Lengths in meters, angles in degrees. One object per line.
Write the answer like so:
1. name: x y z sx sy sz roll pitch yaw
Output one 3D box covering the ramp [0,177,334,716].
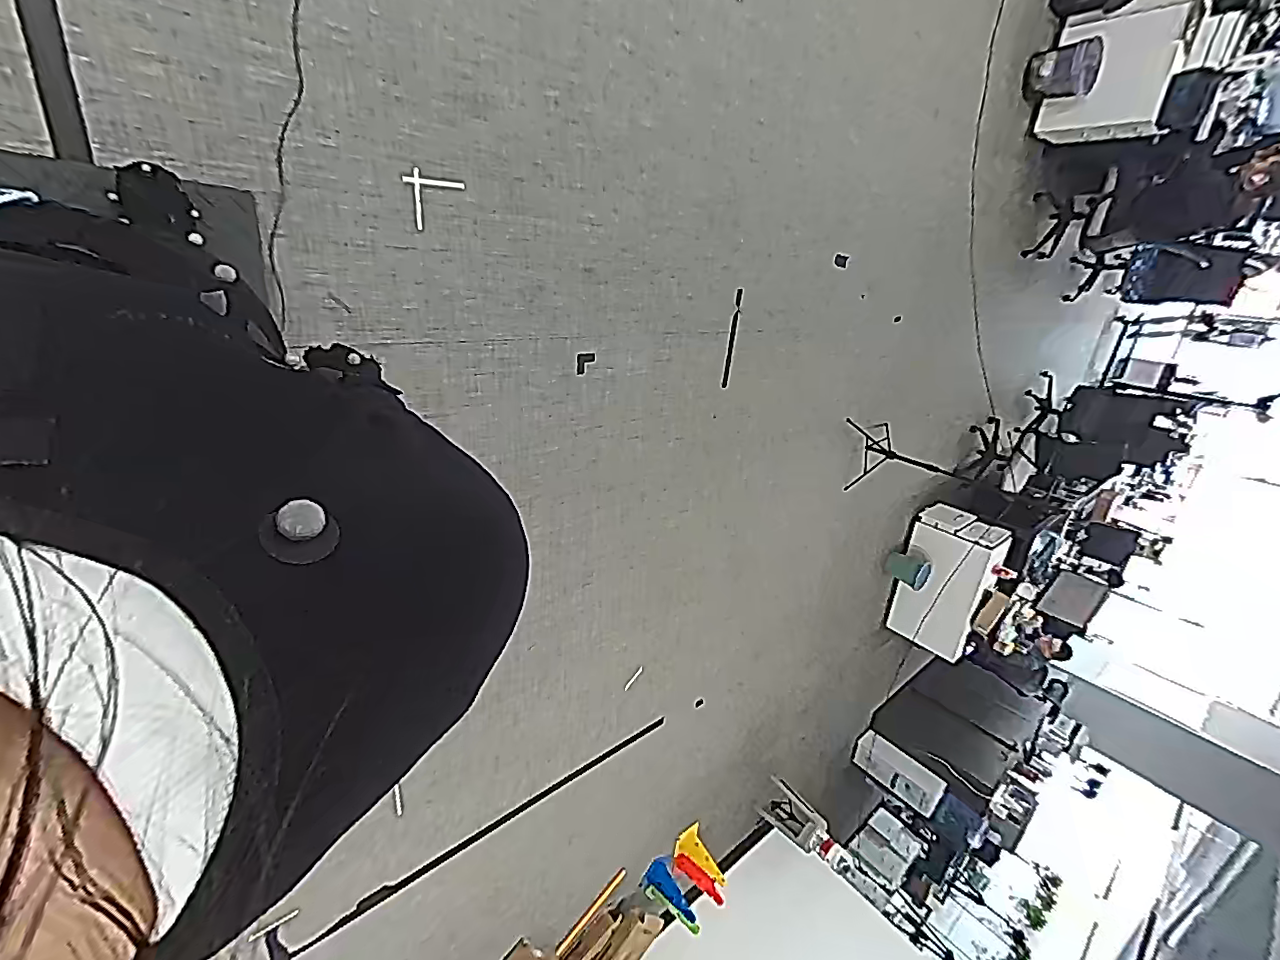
1. ramp: -0.981 -0.056 1.111 0.509 0.206 0.991 -13 116 -36
